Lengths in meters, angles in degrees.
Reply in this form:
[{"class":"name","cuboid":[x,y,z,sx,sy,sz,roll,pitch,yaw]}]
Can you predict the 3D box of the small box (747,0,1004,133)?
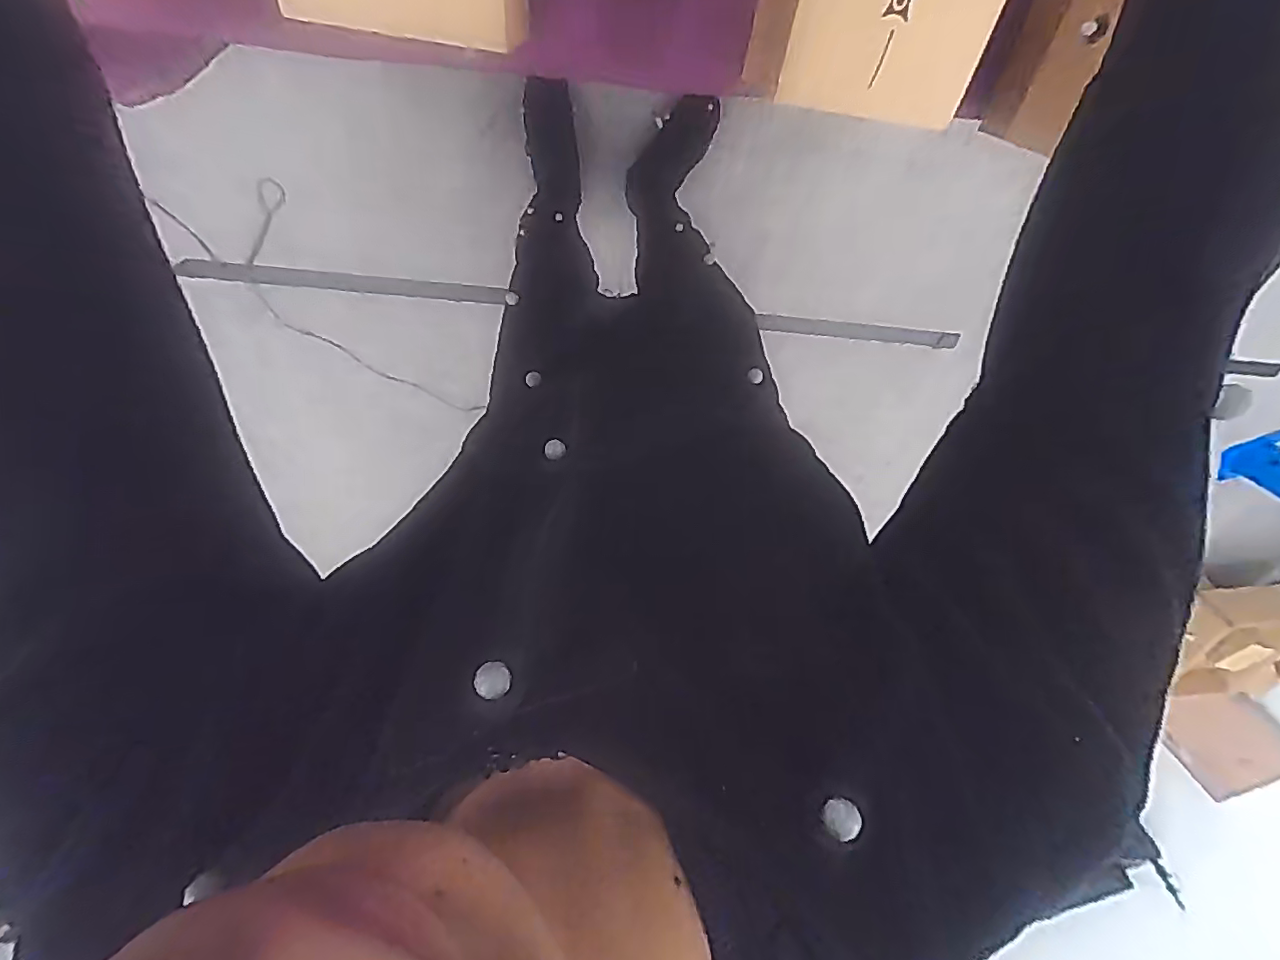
[{"class":"small box","cuboid":[0.204,-0.438,0.480,0.168,0.176,0.179,5,133,-6]}]
